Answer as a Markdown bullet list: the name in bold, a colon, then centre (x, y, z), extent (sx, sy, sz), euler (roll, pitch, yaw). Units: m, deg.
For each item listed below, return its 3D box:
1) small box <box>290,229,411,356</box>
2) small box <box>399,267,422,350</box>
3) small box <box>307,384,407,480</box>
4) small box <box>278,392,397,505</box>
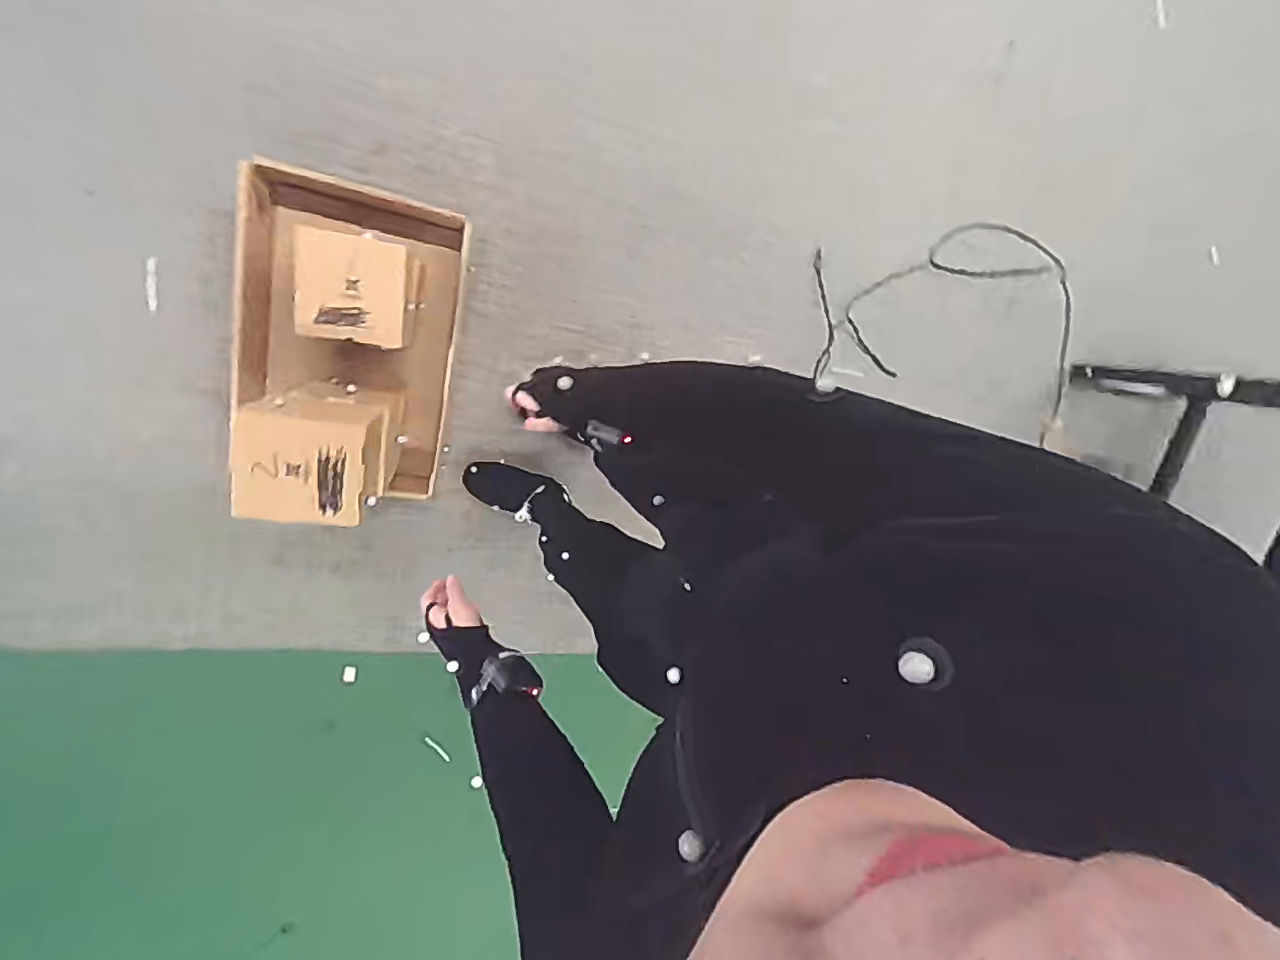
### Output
- **small box**: centre (-0.511, -0.330, 0.972), extent (0.168, 0.176, 0.179), euler (5, 104, -20)
- **small box**: centre (-0.559, -0.377, 1.123), extent (0.179, 0.176, 0.168), euler (10, 103, -20)
- **small box**: centre (-0.620, -0.109, 1.185), extent (0.179, 0.176, 0.168), euler (9, 103, -19)
- **small box**: centre (-0.569, -0.067, 1.035), extent (0.168, 0.176, 0.179), euler (7, 103, -19)
